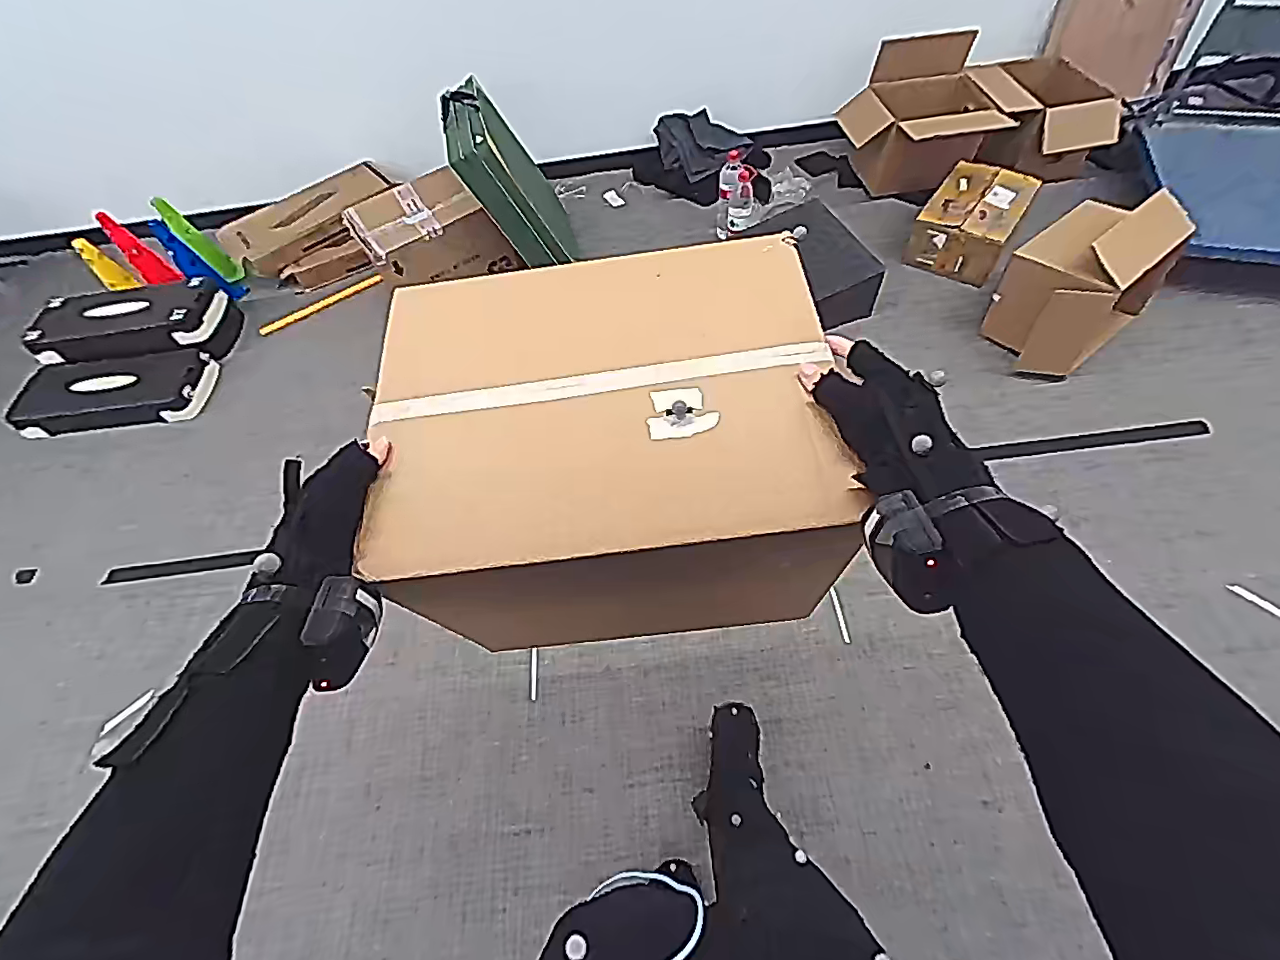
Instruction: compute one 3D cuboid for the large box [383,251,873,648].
[{"bbox_3d":[-0.016,-0.011,0.628,0.408,0.320,0.320,-7,63,2],"label":"large box"}]
